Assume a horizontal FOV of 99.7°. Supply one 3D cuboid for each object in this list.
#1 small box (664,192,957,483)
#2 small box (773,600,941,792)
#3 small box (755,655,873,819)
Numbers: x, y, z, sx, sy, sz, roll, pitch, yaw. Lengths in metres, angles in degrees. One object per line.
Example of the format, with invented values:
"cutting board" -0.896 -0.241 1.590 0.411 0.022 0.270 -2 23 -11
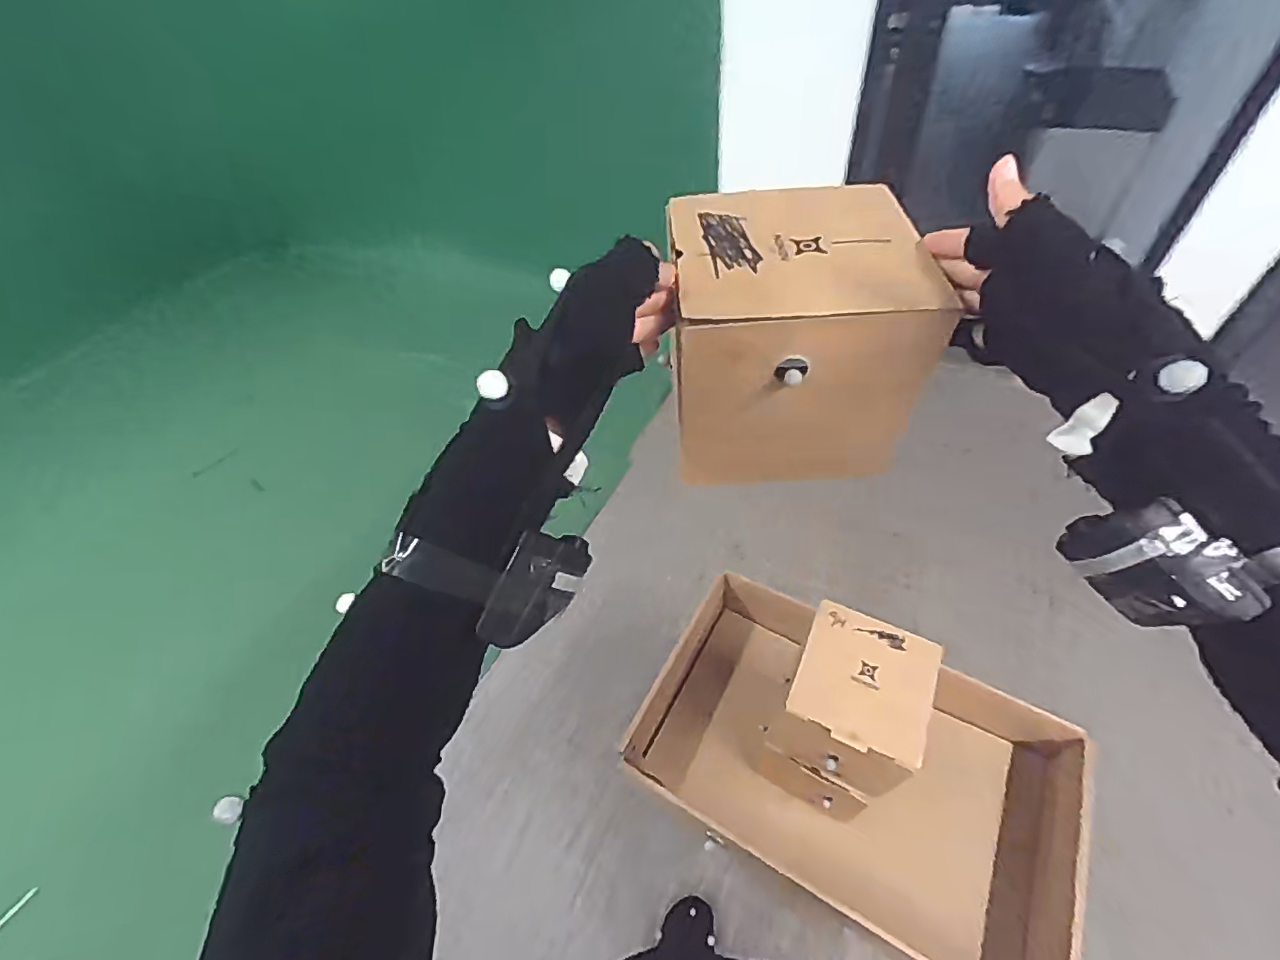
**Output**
"small box" 0.112 -0.109 0.444 0.179 0.176 0.168 -3 52 1
"small box" 0.298 0.310 0.768 0.168 0.176 0.179 21 55 19
"small box" 0.300 0.420 0.890 0.168 0.176 0.179 23 53 21
